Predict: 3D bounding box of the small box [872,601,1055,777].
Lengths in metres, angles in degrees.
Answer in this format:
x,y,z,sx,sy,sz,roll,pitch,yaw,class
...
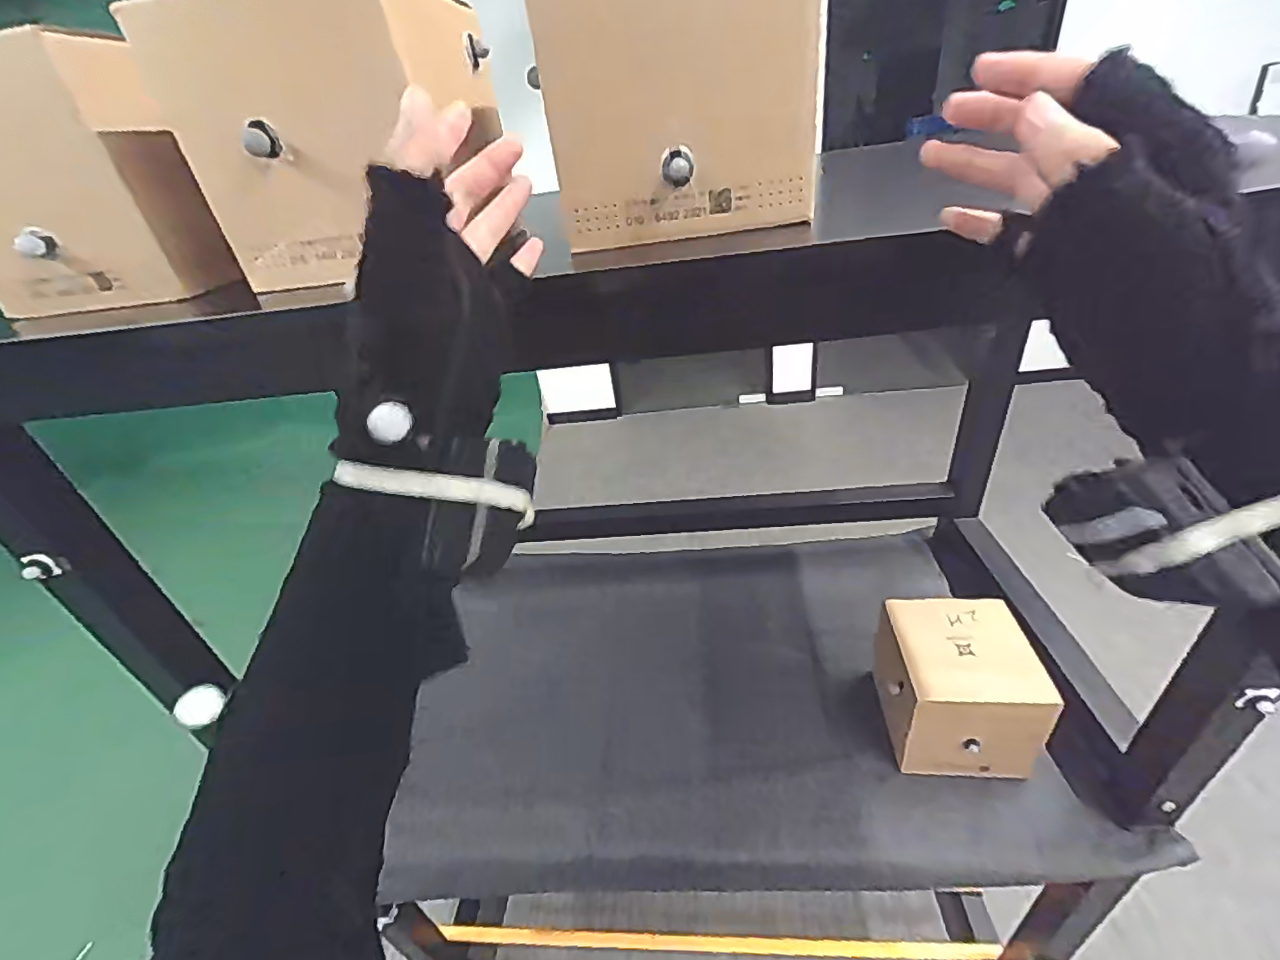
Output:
x,y,z,sx,sy,sz,roll,pitch,yaw,class
0.441,0.294,0.770,0.168,0.176,0.179,-2,32,10,small box

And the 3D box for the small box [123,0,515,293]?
x,y,z,sx,sy,sz,roll,pitch,yaw,class
-0.212,-0.251,0.423,0.168,0.176,0.179,-4,32,8,small box

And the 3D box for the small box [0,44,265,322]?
x,y,z,sx,sy,sz,roll,pitch,yaw,class
-0.434,-0.245,0.461,0.168,0.176,0.179,-4,34,8,small box
